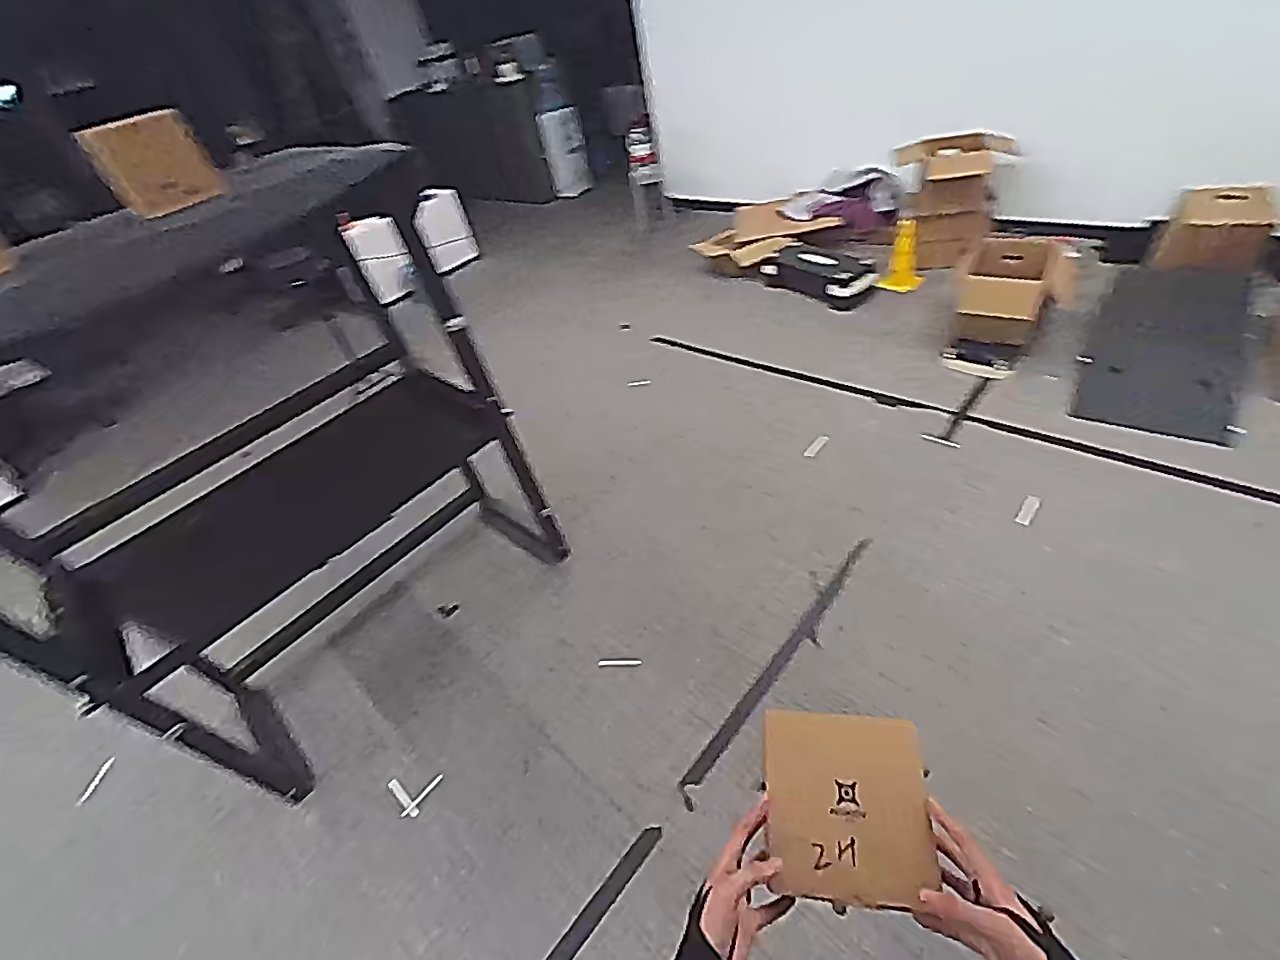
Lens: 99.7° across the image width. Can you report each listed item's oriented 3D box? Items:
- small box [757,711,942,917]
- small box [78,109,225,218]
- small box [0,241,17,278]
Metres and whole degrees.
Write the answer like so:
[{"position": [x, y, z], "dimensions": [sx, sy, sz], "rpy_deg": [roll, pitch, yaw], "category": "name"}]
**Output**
[{"position": [0.226, 0.387, 0.638], "dimensions": [0.168, 0.176, 0.179], "rpy_deg": [-1, 57, 10], "category": "small box"}, {"position": [-1.071, -0.696, 1.193], "dimensions": [0.179, 0.176, 0.168], "rpy_deg": [27, 57, 36], "category": "small box"}, {"position": [-1.334, -0.447, 1.008], "dimensions": [0.179, 0.176, 0.168], "rpy_deg": [29, 58, 37], "category": "small box"}]
